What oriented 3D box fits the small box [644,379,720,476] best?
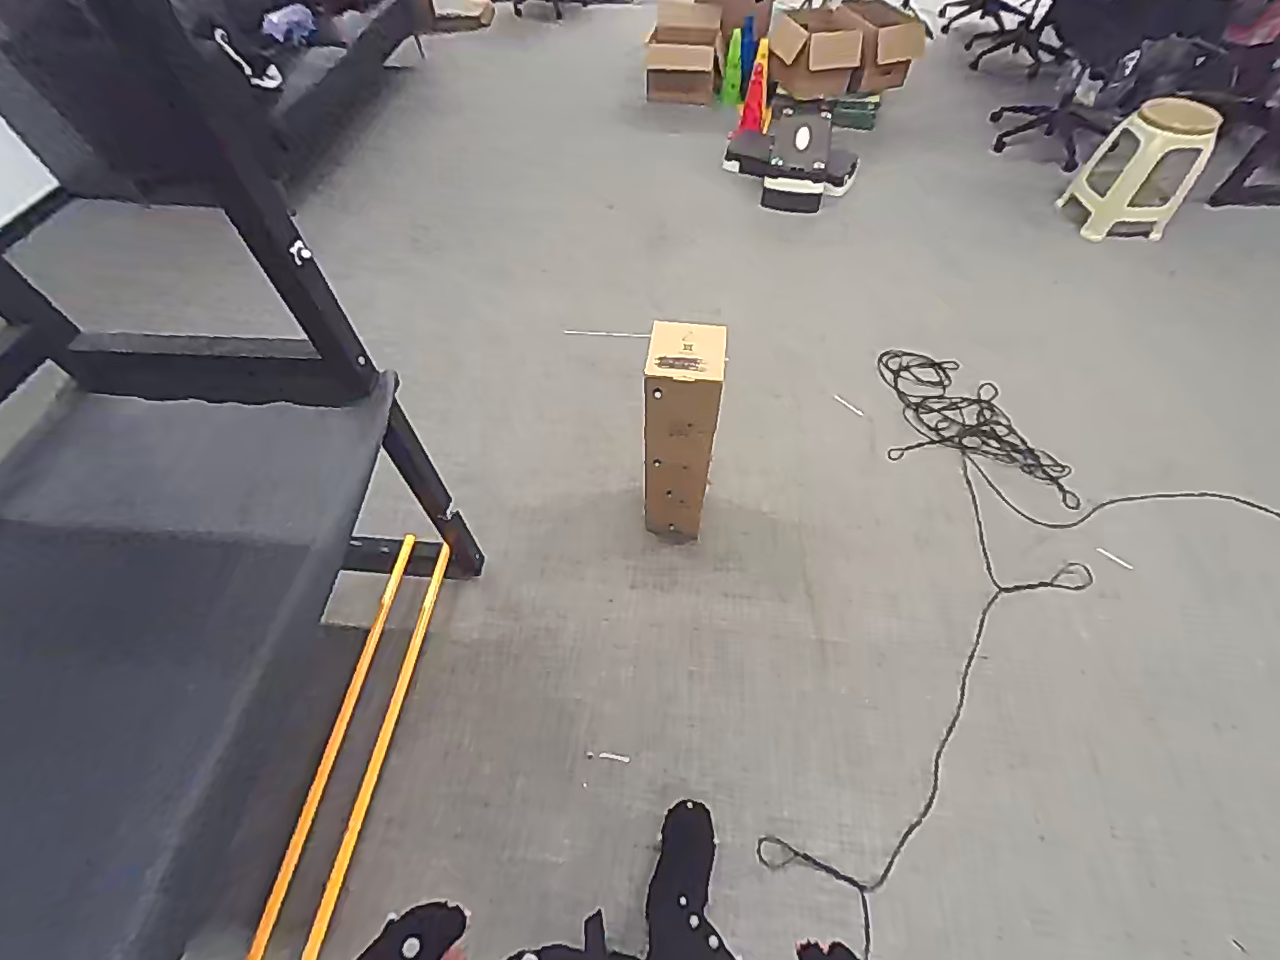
[{"bbox_3d":[0.107,-0.129,1.369,0.168,0.176,0.179,7,55,6],"label":"small box"}]

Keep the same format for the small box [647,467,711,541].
[{"bbox_3d":[0.116,0.060,1.635,0.168,0.176,0.179,8,56,8],"label":"small box"}]
